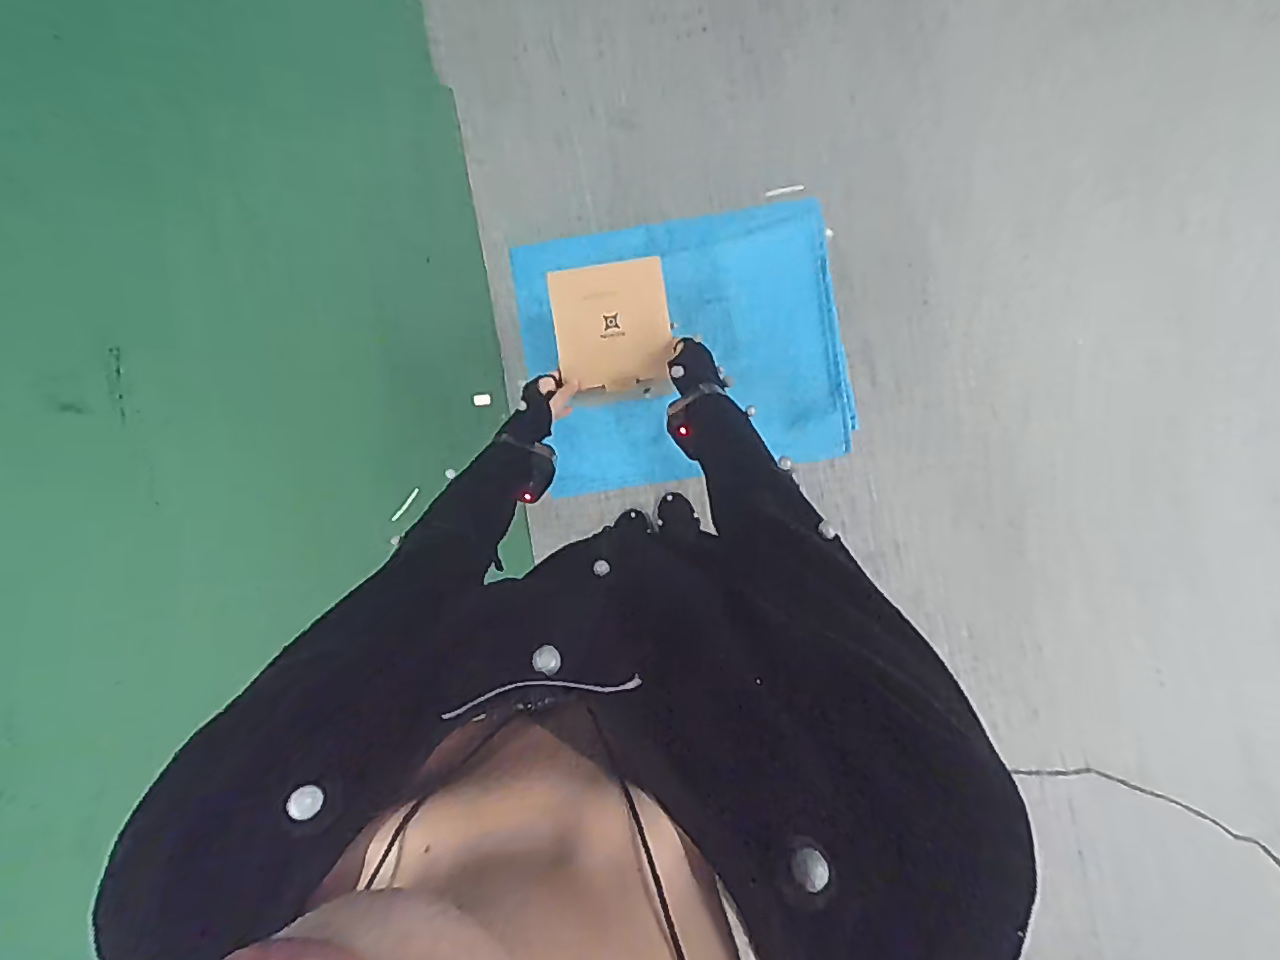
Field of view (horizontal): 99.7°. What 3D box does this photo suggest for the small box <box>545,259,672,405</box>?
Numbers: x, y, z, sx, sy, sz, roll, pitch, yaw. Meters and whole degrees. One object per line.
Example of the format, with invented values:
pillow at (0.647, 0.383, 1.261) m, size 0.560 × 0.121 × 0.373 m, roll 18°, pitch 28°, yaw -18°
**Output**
small box at (-0.042, -0.215, 0.838) m, size 0.168 × 0.176 × 0.179 m, roll -7°, pitch 90°, yaw 0°
